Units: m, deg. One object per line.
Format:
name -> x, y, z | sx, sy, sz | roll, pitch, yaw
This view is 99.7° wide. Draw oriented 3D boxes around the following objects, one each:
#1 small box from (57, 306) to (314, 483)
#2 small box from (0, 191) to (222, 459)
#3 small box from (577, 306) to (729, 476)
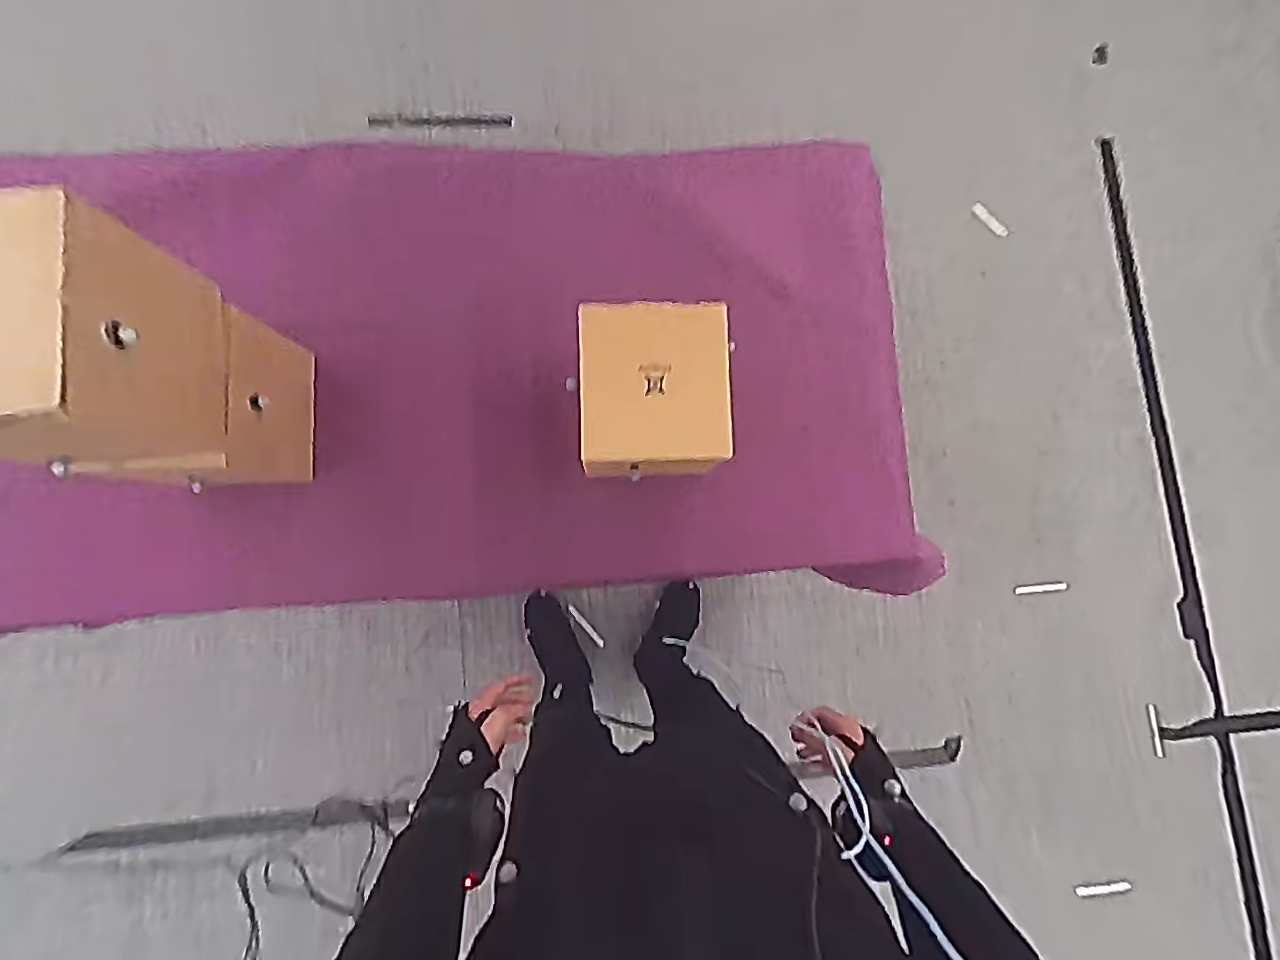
small box -> -0.508, -0.087, 0.632 | 0.168, 0.176, 0.179 | -1, 84, -4
small box -> -0.503, -0.115, 0.469 | 0.168, 0.176, 0.179 | -6, 84, -5
small box -> 0.011, -0.098, 0.668 | 0.168, 0.176, 0.179 | -2, 84, -3
